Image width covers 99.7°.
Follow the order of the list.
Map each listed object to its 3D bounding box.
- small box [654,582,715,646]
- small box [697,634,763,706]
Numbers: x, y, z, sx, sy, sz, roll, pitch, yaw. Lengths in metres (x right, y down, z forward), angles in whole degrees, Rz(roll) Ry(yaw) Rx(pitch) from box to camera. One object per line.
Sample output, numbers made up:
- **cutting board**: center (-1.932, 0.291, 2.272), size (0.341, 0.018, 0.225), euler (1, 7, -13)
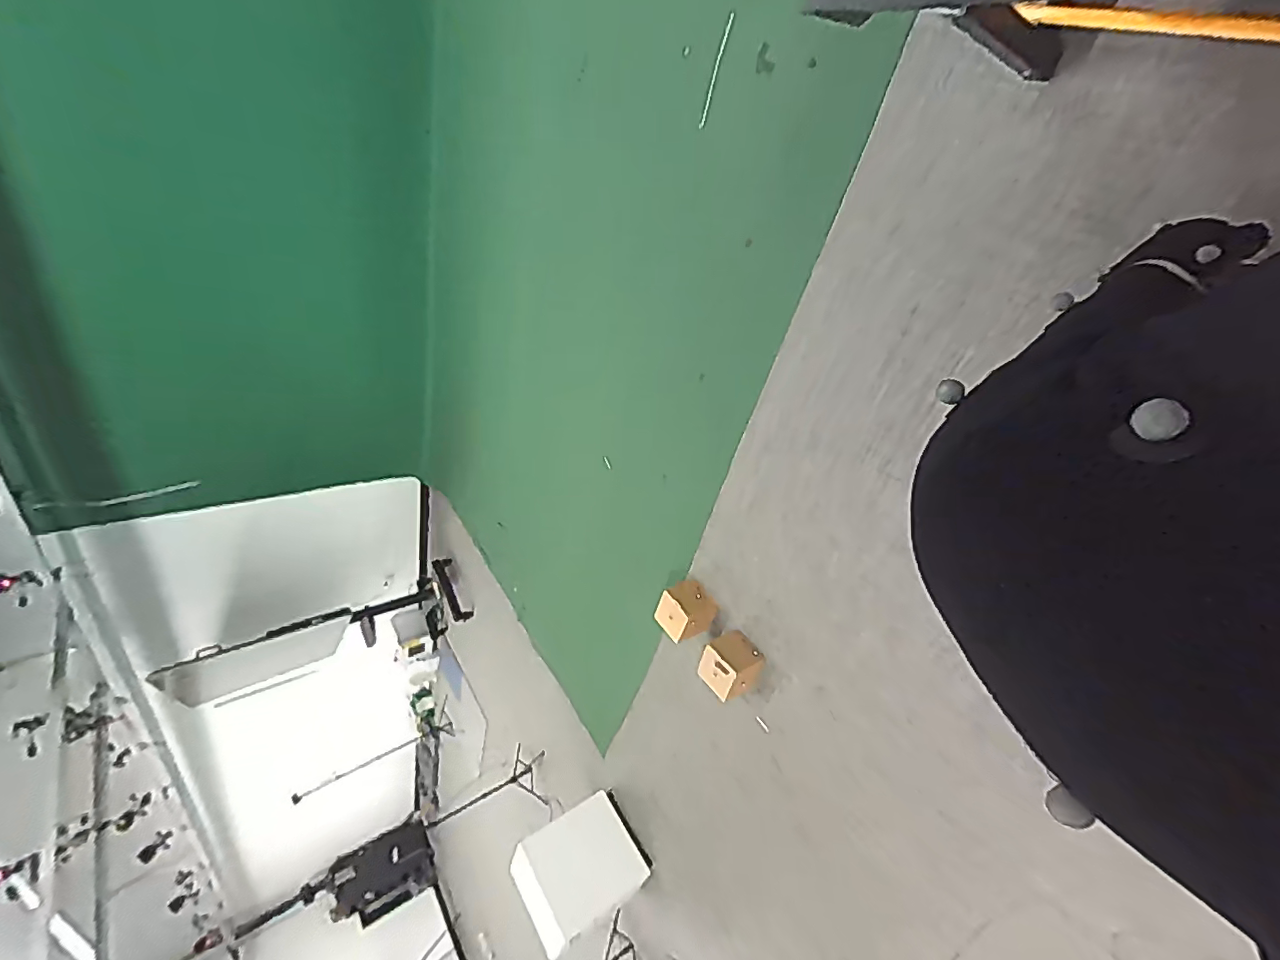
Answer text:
- **small box**: center (0.190, 0.562, 2.283), size (0.168, 0.176, 0.179), euler (44, 131, 36)
- **small box**: center (0.355, 0.735, 2.114), size (0.168, 0.176, 0.179), euler (41, 130, 39)
